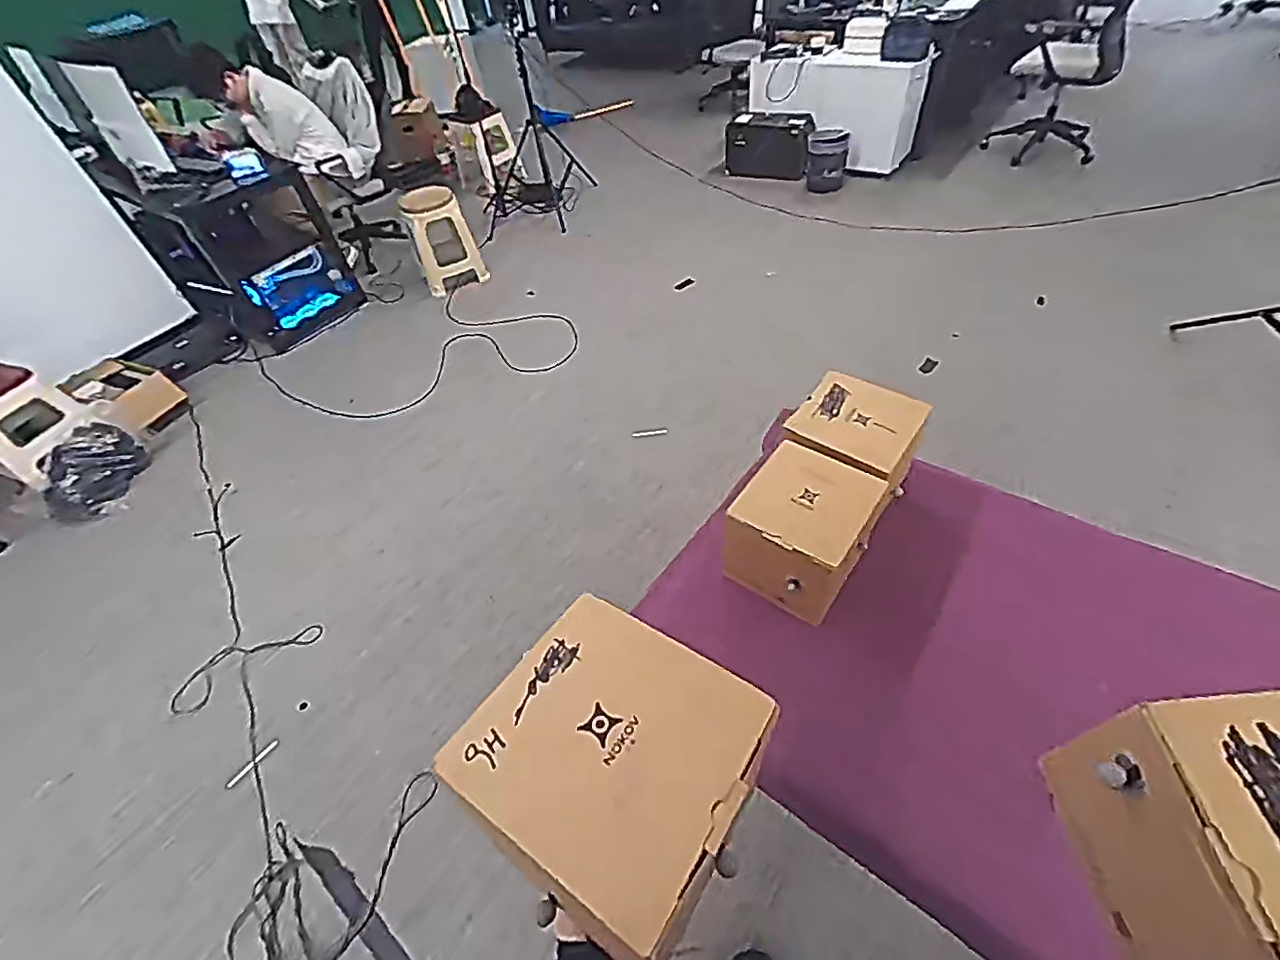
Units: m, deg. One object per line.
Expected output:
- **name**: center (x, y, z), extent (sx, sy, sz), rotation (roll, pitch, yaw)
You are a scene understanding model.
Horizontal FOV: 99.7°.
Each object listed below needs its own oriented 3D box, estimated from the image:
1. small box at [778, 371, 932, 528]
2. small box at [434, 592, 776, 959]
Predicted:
- **small box**: center (0.348, -0.049, 0.909), extent (0.179, 0.176, 0.168), rotation (30, 61, 27)
- **small box**: center (-0.019, 0.228, 0.420), extent (0.179, 0.176, 0.168), rotation (24, 48, 24)
